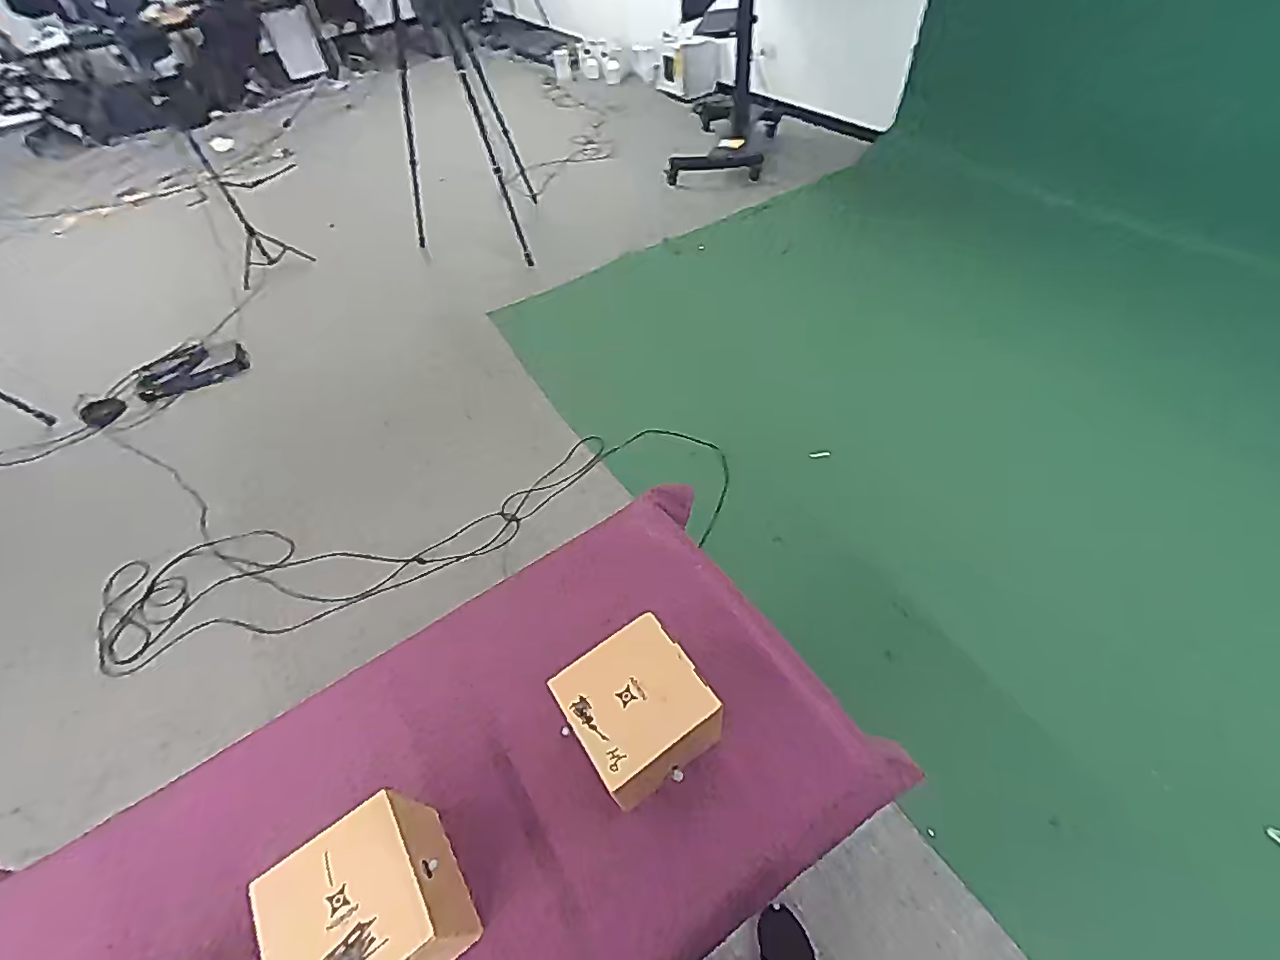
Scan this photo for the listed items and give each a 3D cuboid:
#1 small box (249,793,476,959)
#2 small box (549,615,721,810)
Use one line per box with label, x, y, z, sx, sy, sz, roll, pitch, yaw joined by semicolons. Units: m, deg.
small box;-0.324;0.524;0.656;0.168;0.176;0.179;-32;53;-18
small box;-0.004;0.333;0.774;0.179;0.176;0.168;-30;54;-17
